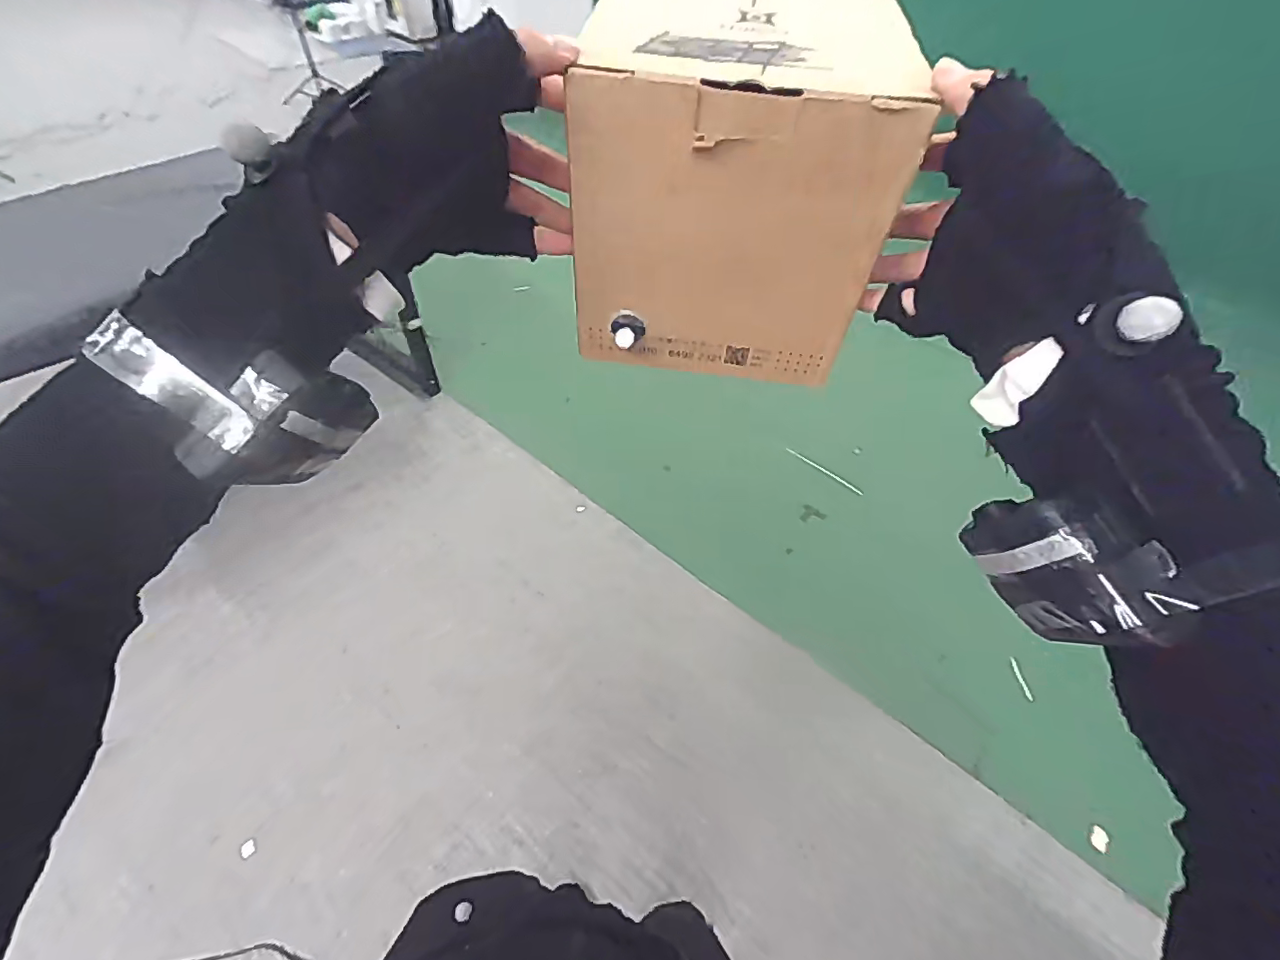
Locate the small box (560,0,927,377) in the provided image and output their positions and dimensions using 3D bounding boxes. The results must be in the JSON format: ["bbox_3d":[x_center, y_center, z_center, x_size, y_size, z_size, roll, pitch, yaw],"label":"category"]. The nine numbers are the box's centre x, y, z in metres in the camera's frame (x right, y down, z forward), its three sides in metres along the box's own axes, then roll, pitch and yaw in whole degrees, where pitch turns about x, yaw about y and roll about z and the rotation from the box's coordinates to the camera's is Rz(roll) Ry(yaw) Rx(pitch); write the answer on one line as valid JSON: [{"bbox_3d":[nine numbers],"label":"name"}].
[{"bbox_3d":[0.052,-0.189,0.350,0.168,0.176,0.179,8,53,2],"label":"small box"}]
